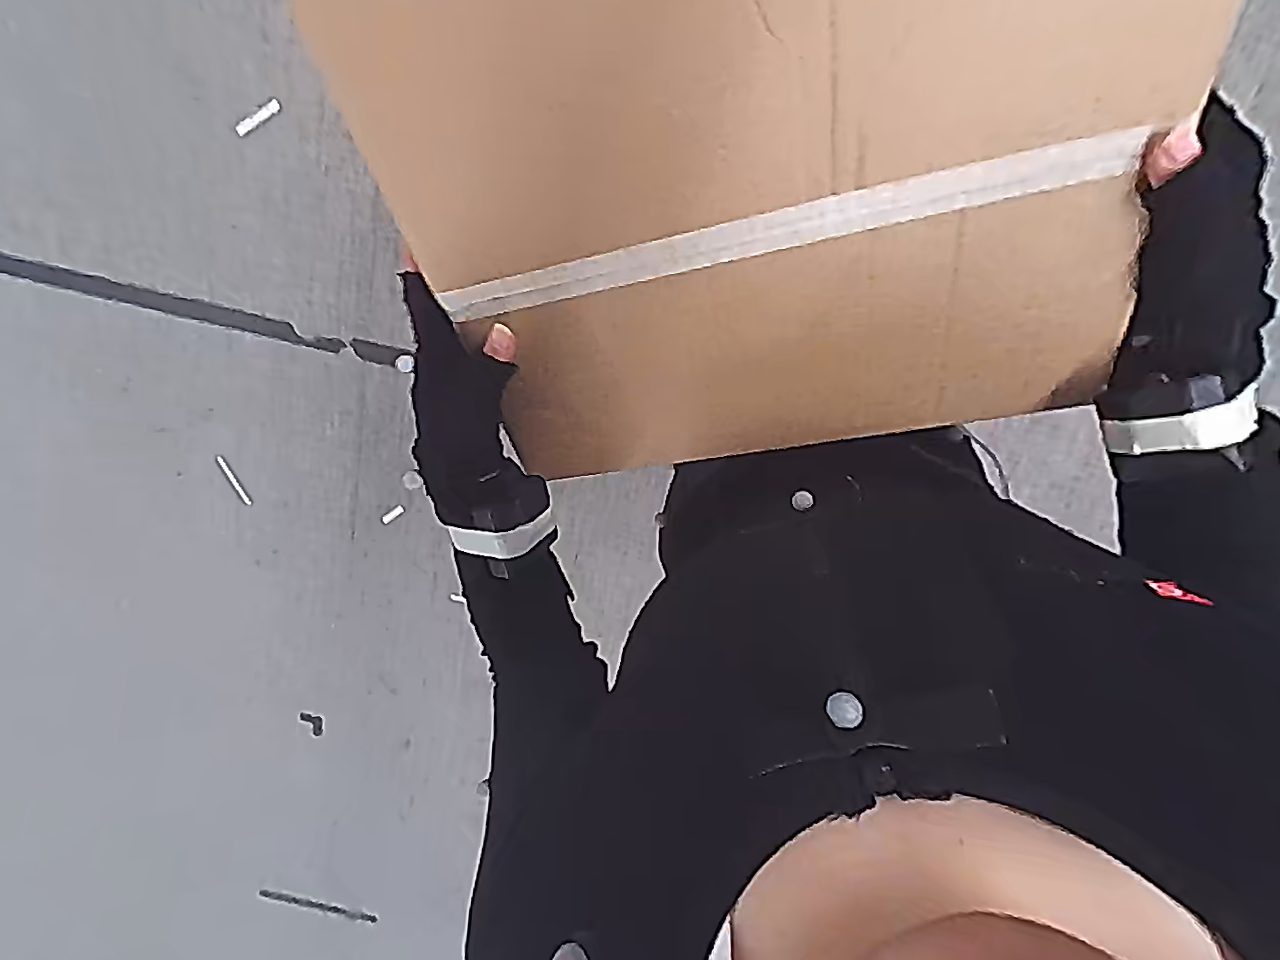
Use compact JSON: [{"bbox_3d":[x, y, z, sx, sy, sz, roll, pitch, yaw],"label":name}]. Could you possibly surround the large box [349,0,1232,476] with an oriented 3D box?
[{"bbox_3d":[0.089,-0.237,0.429,0.408,0.320,0.320,-7,132,12],"label":"large box"}]
